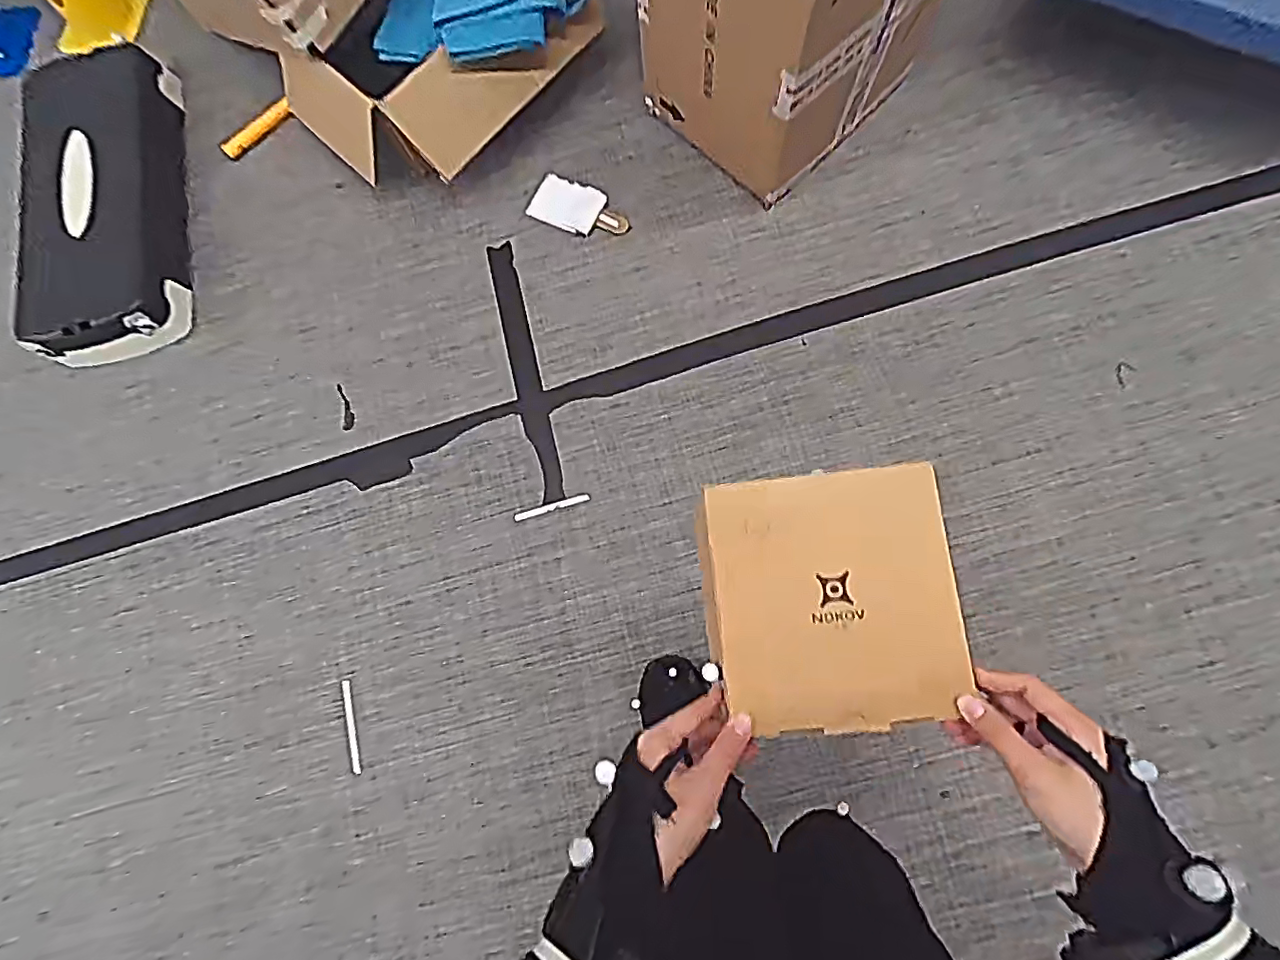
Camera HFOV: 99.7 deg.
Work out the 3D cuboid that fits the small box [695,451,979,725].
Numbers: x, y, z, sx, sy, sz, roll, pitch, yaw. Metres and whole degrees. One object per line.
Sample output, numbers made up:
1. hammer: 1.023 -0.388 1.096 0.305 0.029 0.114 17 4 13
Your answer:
1. small box: 0.140 0.085 0.453 0.168 0.176 0.179 -7 81 2
